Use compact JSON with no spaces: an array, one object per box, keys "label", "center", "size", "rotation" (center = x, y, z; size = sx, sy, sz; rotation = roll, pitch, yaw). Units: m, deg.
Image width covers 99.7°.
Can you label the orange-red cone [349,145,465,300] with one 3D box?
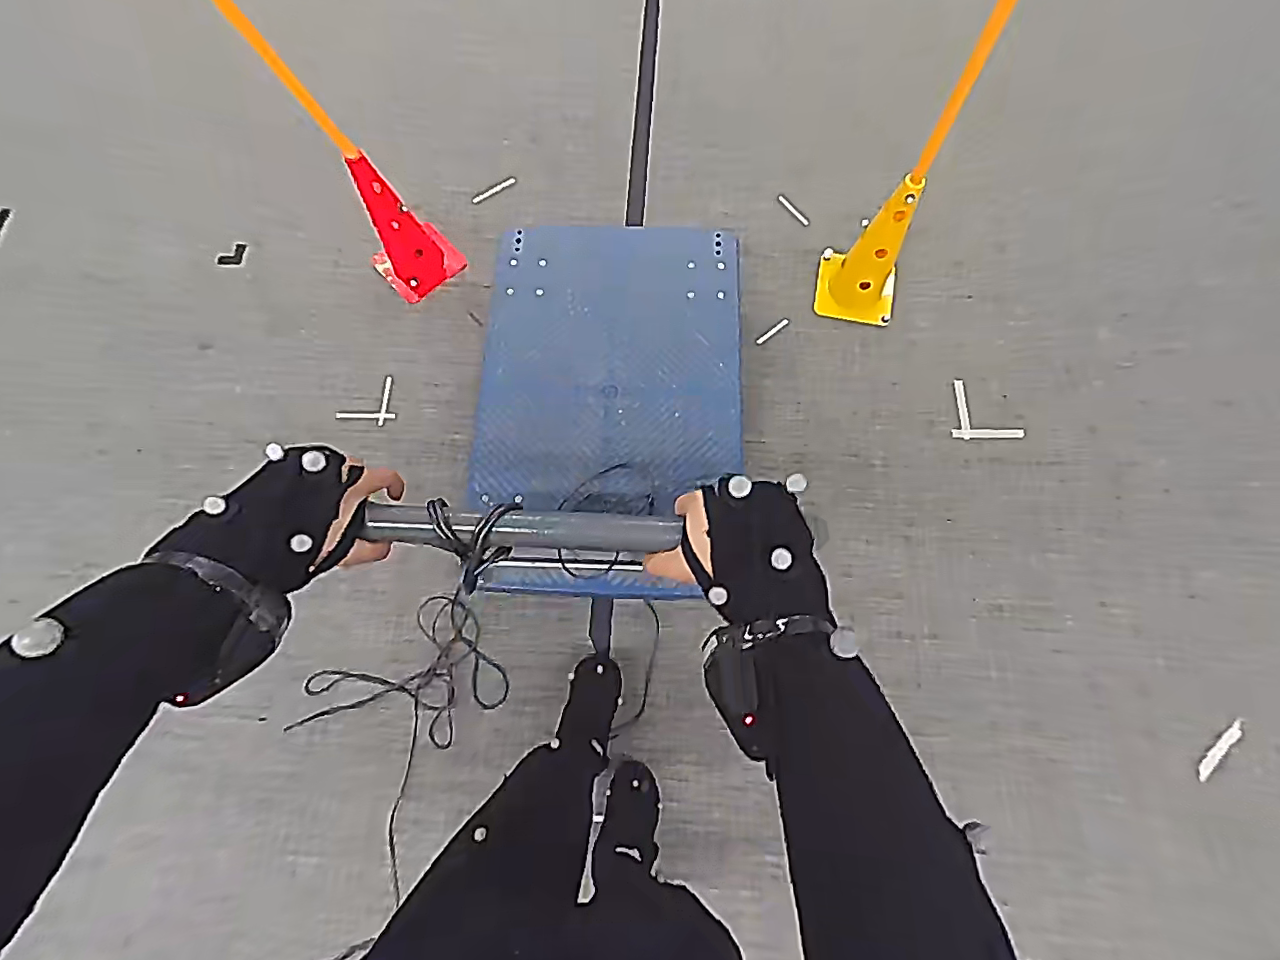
[{"label":"orange-red cone","center":[-0.606,-0.654,1.325],"size":[0.199,0.360,0.198],"rotation":[-40,78,-11]}]
